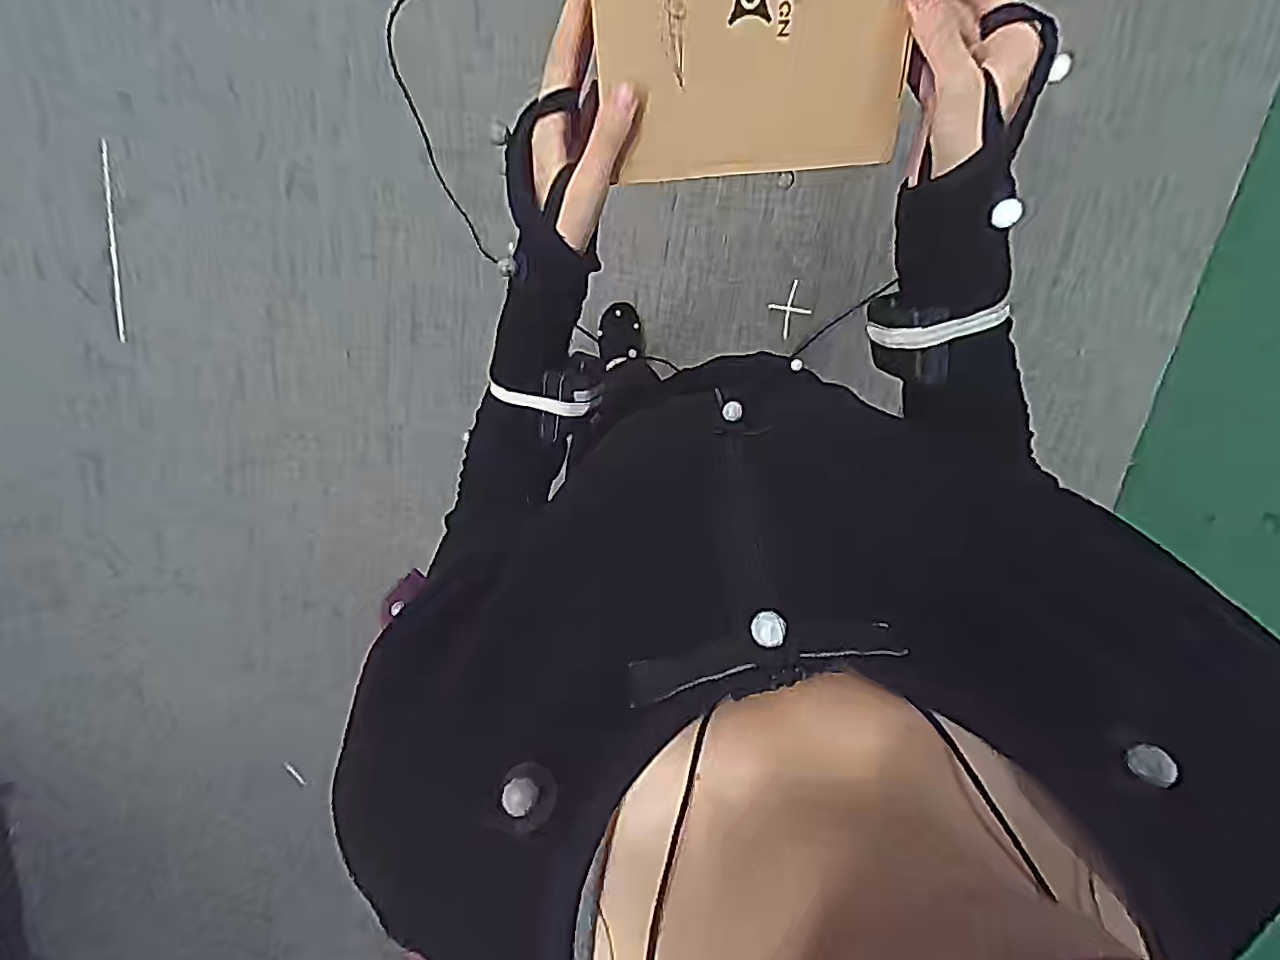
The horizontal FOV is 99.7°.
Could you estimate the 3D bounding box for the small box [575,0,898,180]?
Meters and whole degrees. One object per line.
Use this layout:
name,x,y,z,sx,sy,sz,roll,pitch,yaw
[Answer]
small box,0.048,-0.299,0.352,0.179,0.176,0.168,-4,123,-1
